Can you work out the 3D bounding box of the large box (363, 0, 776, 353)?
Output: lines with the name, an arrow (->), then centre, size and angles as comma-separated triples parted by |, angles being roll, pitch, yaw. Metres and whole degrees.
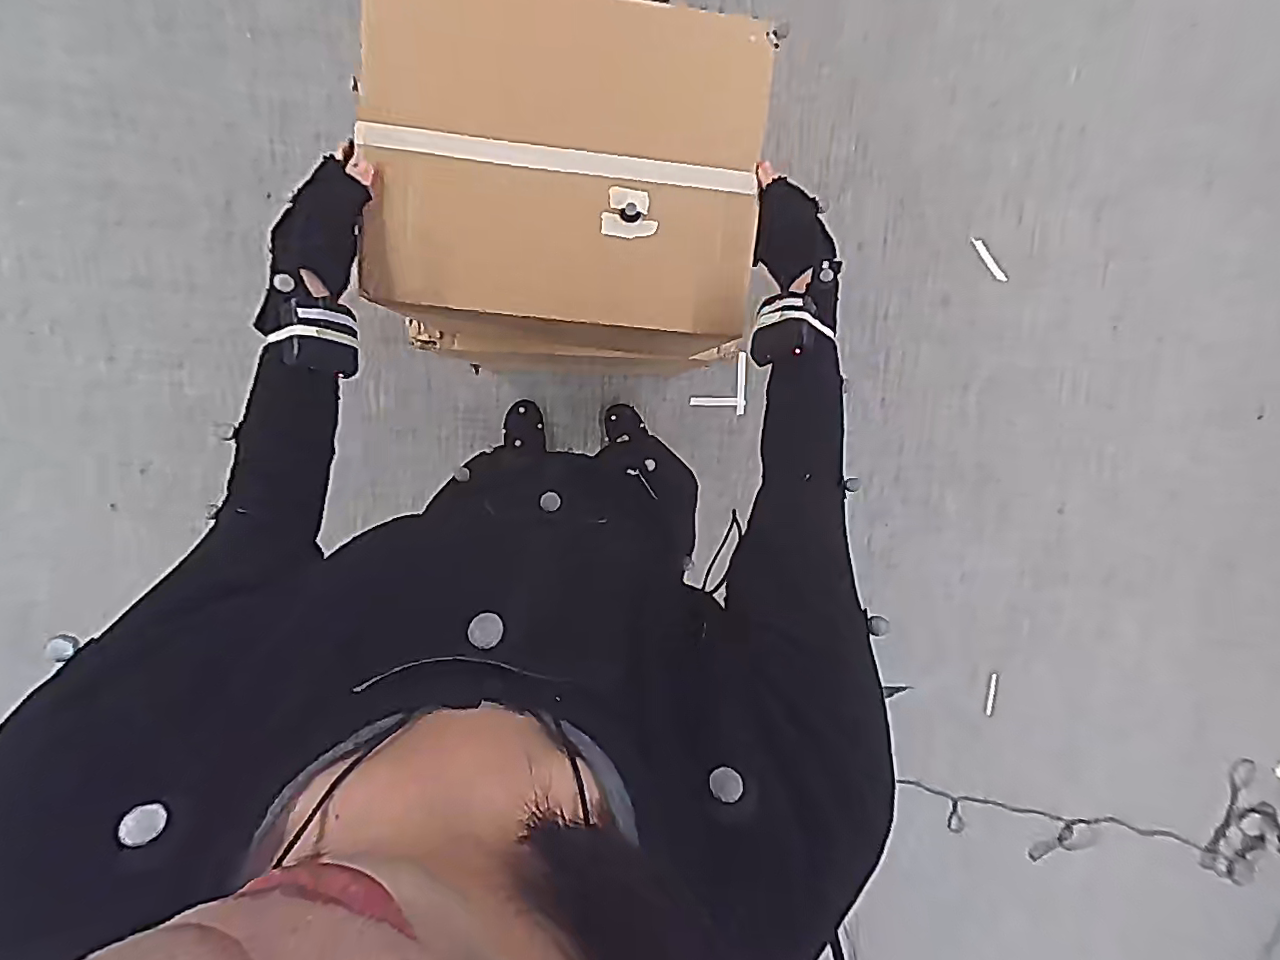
large box -> -0.087, -0.343, 0.688 | 0.408, 0.320, 0.320 | 4, 99, -7
